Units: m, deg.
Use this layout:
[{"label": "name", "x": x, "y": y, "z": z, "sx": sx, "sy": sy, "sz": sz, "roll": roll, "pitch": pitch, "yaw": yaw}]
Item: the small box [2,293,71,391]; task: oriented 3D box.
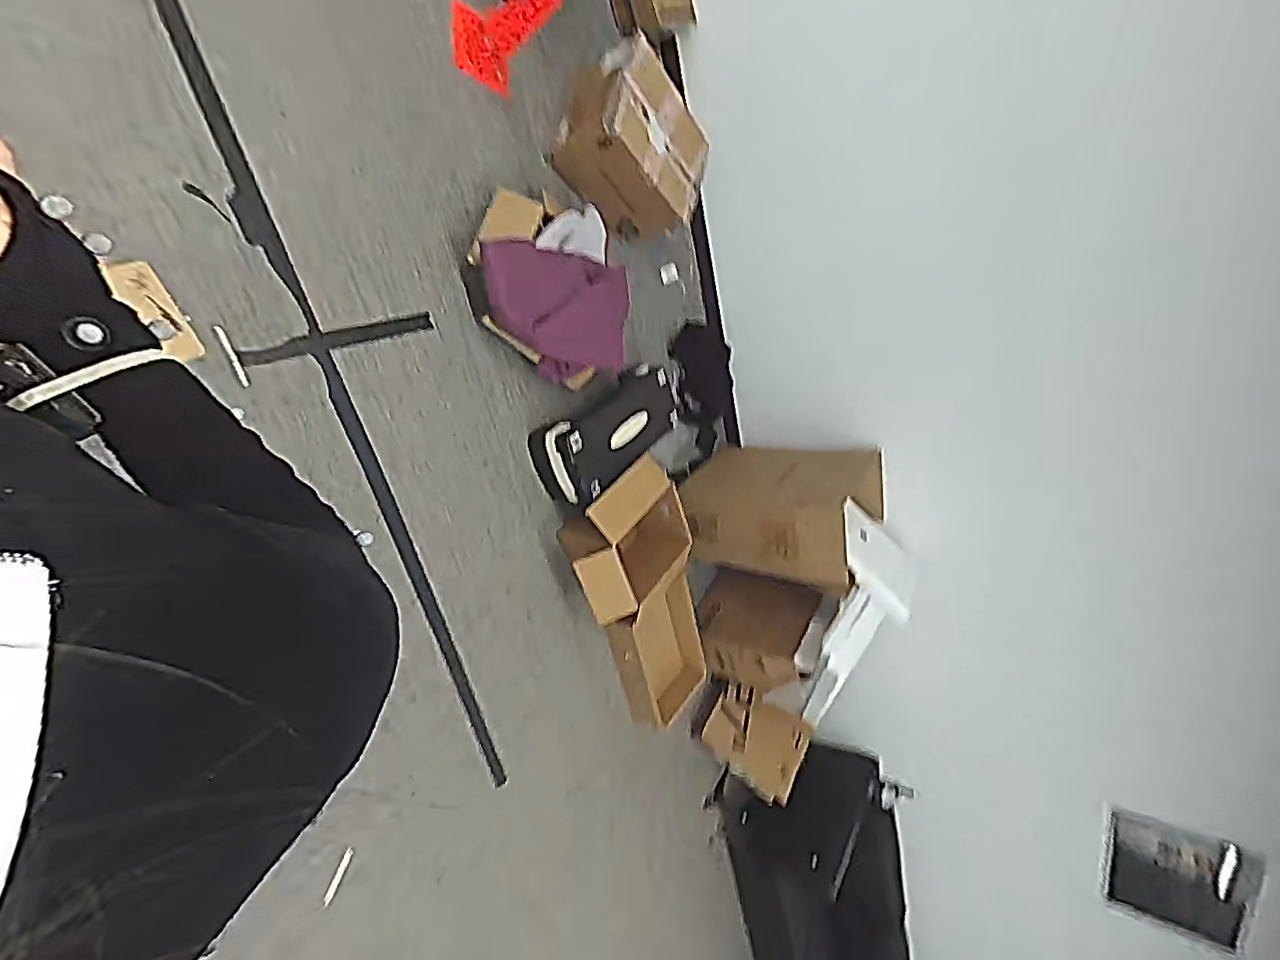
[{"label": "small box", "x": -1.039, "y": -0.278, "z": 1.022, "sx": 0.179, "sy": 0.176, "sz": 0.168, "roll": -40, "pitch": 122, "yaw": -40}]

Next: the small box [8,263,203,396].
[{"label": "small box", "x": -0.908, "y": -0.252, "z": 0.925, "sx": 0.179, "sy": 0.176, "sz": 0.168, "roll": -42, "pitch": 123, "yaw": -41}]
